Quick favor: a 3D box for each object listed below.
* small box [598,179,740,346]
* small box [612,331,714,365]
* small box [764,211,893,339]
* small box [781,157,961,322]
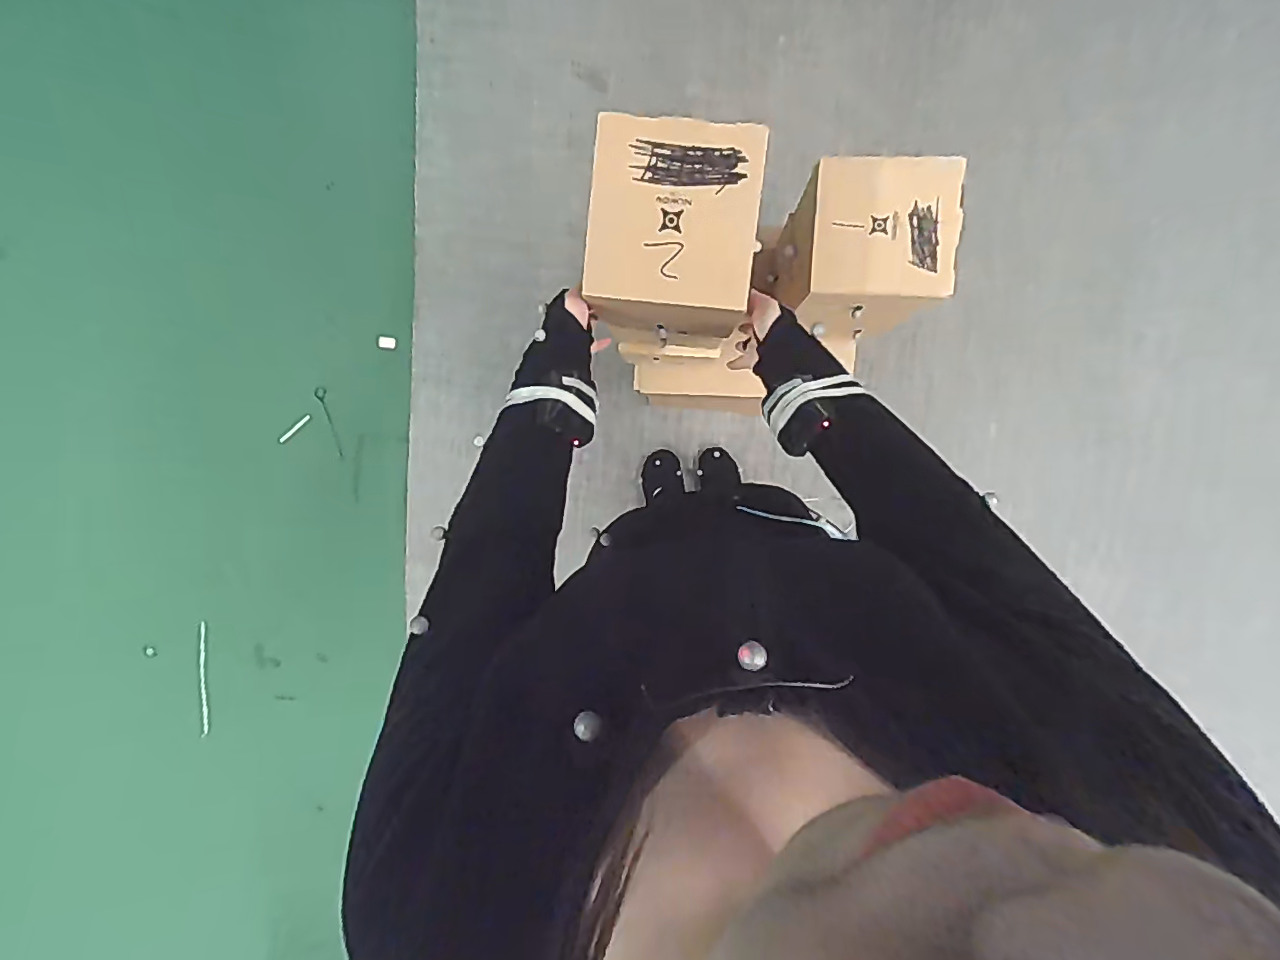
[{"bbox_3d":[0.039,-0.293,0.766,0.168,0.176,0.179,6,96,1],"label":"small box"},{"bbox_3d":[0.048,-0.297,0.931,0.168,0.176,0.179,5,96,2],"label":"small box"},{"bbox_3d":[0.314,-0.335,0.910,0.179,0.176,0.168,3,96,5],"label":"small box"},{"bbox_3d":[0.304,-0.318,0.747,0.179,0.176,0.168,4,96,5],"label":"small box"}]
